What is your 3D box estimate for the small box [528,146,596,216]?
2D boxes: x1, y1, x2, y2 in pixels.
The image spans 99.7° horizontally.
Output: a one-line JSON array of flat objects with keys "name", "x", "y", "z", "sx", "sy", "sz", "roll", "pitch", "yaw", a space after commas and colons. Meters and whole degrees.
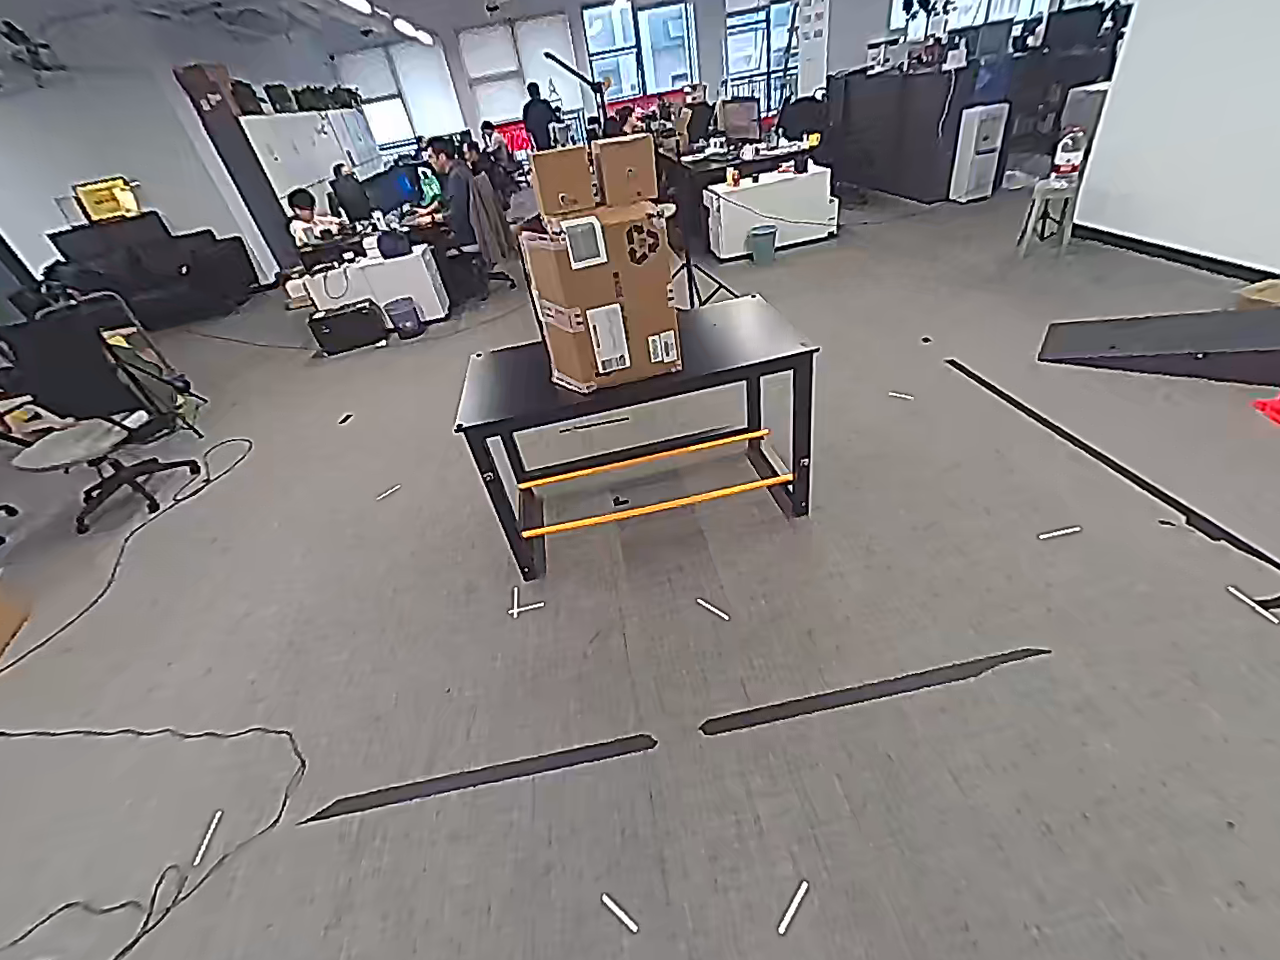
[{"name": "small box", "x": -0.246, "y": -0.936, "z": 1.695, "sx": 0.168, "sy": 0.176, "sz": 0.179, "roll": -16, "pitch": 35, "yaw": -8}]
